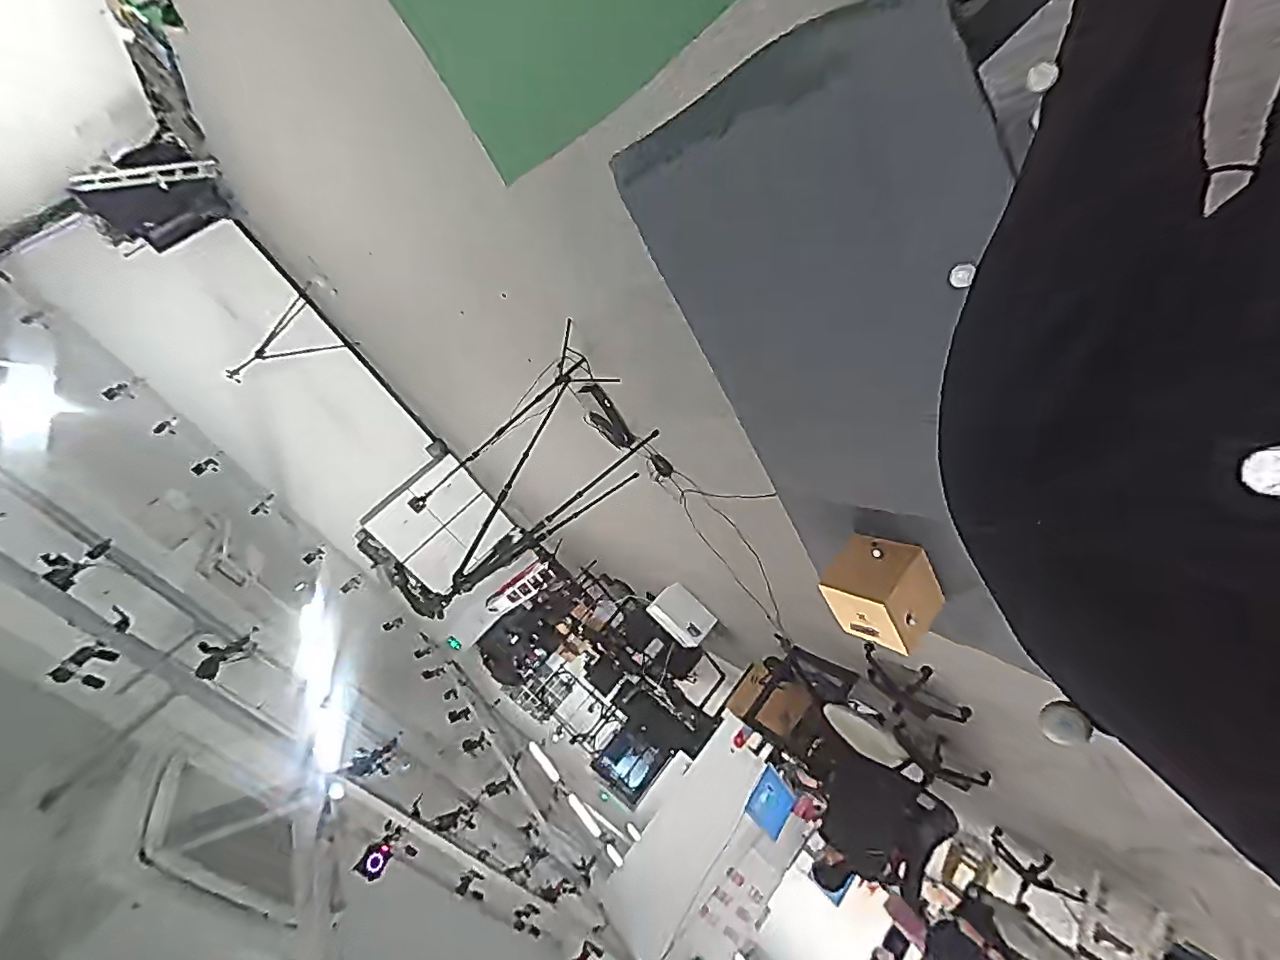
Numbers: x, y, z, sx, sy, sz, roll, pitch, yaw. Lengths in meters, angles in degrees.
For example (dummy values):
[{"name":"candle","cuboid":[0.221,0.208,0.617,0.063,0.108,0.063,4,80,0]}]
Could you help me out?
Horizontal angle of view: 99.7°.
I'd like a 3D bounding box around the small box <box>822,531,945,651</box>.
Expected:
[{"name":"small box","cuboid":[0.553,0.244,1.218,0.168,0.176,0.179,10,141,57]}]
